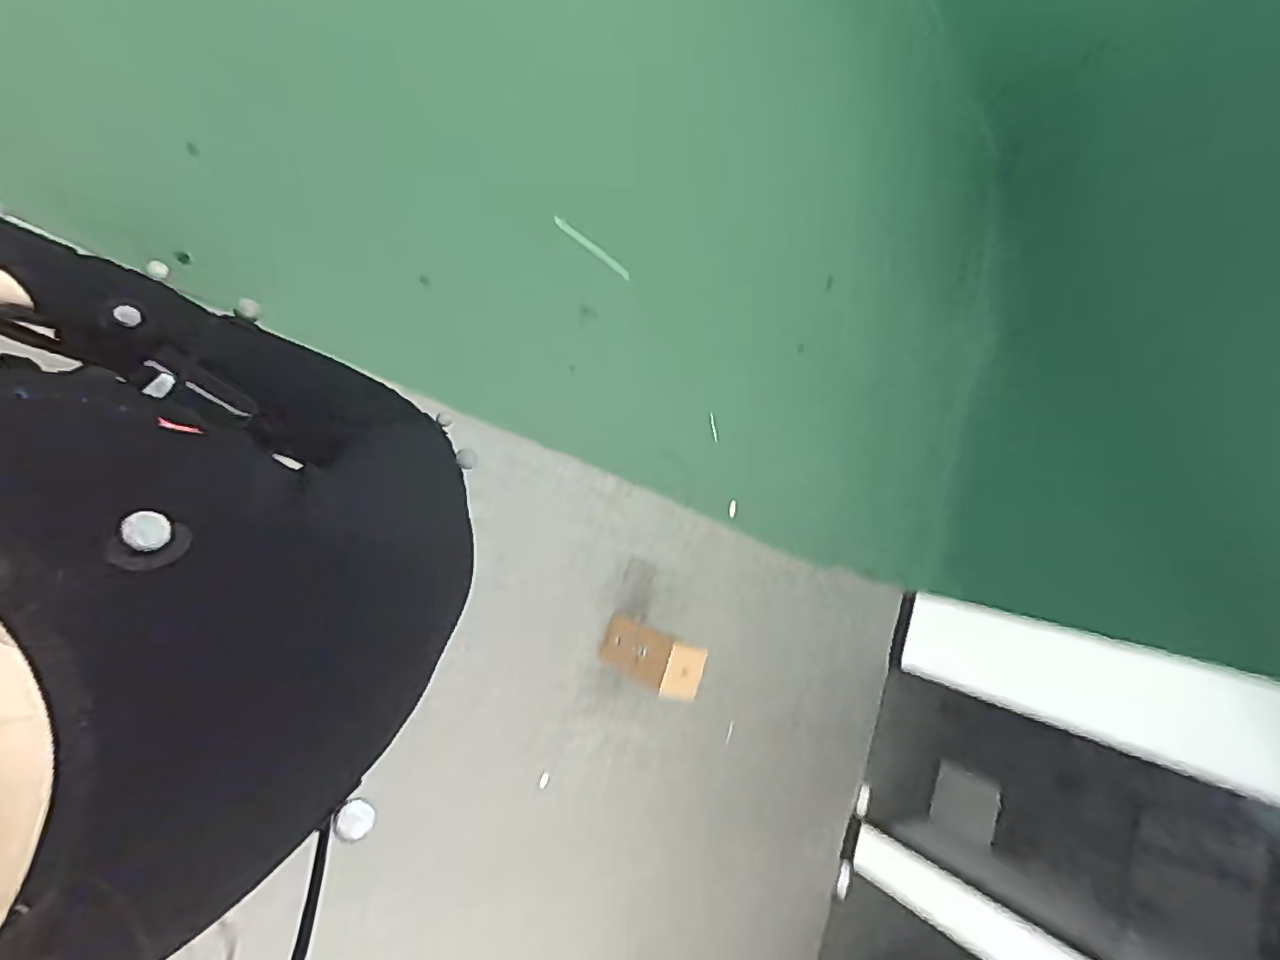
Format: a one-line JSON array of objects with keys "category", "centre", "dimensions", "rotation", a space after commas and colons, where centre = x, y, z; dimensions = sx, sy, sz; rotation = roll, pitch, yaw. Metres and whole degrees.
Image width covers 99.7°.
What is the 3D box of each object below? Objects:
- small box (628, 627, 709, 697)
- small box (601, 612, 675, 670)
[{"category": "small box", "centre": [0.093, 0.602, 1.797], "dimensions": [0.179, 0.176, 0.168], "rotation": [25, 79, -38]}, {"category": "small box", "centre": [-0.009, 0.582, 1.923], "dimensions": [0.179, 0.176, 0.168], "rotation": [29, 78, -38]}]
